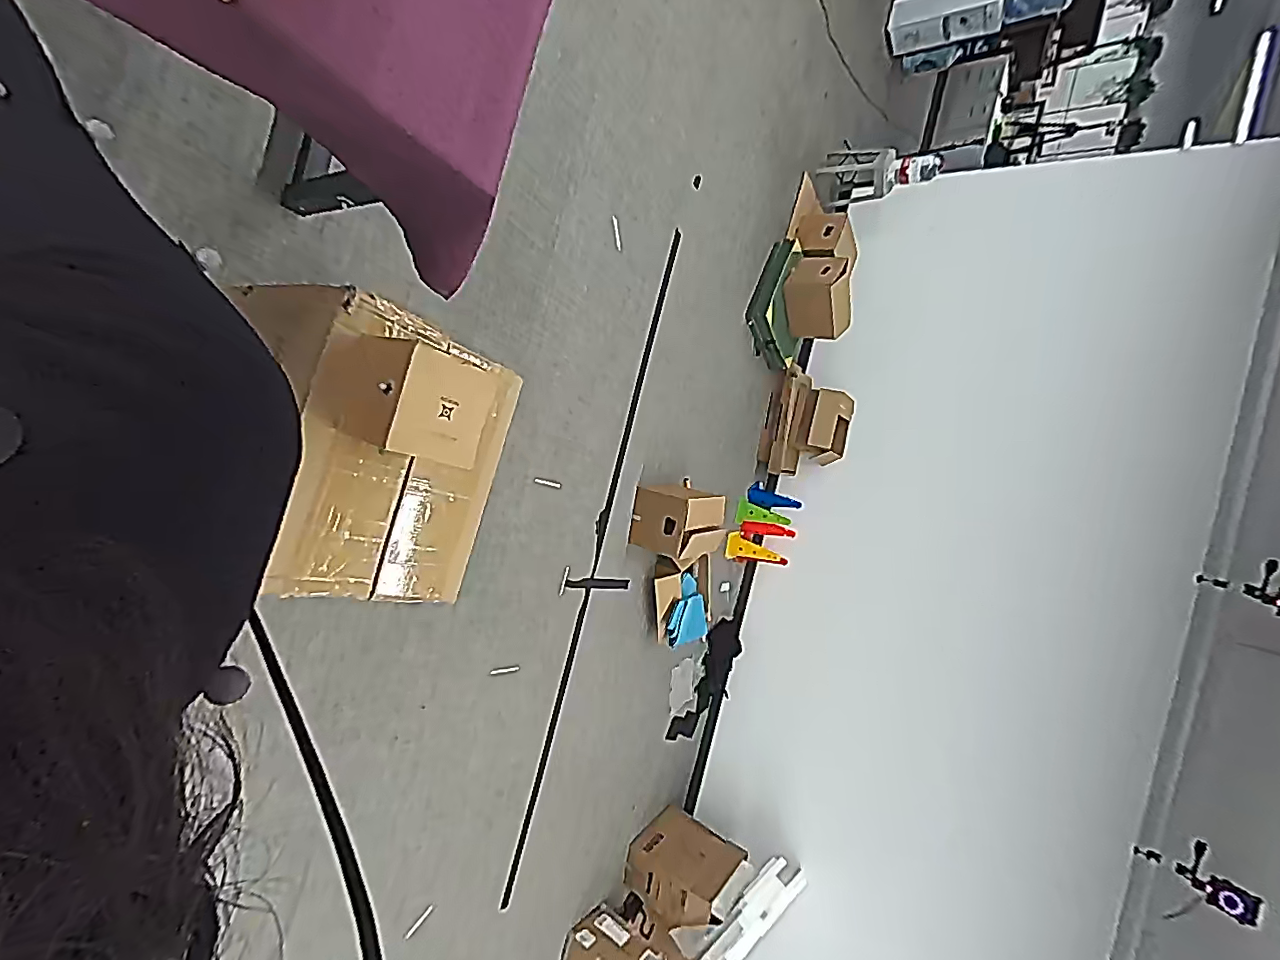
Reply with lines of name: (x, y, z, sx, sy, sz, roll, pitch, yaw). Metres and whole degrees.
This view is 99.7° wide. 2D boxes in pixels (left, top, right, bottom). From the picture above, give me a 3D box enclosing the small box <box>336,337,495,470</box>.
small box: (-0.383, -0.131, 0.917, 0.168, 0.176, 0.179, 18, 88, -54)
